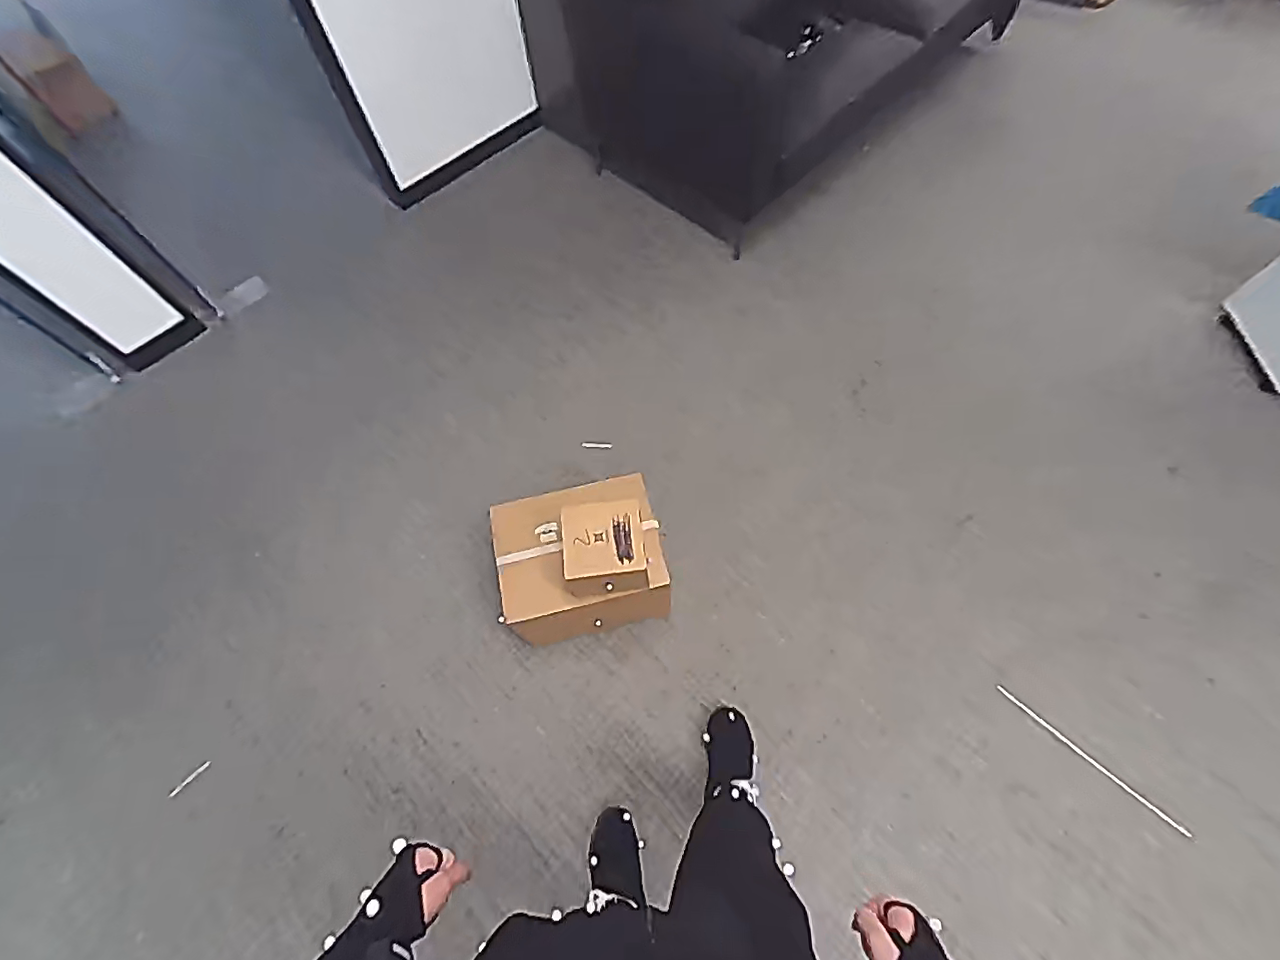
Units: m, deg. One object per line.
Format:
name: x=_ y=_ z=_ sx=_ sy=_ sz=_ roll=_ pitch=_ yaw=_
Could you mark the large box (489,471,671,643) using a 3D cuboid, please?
large box: x=-0.148 y=0.218 z=1.458 sx=0.408 sy=0.320 sz=0.320 roll=-14 pitch=63 yaw=-3
